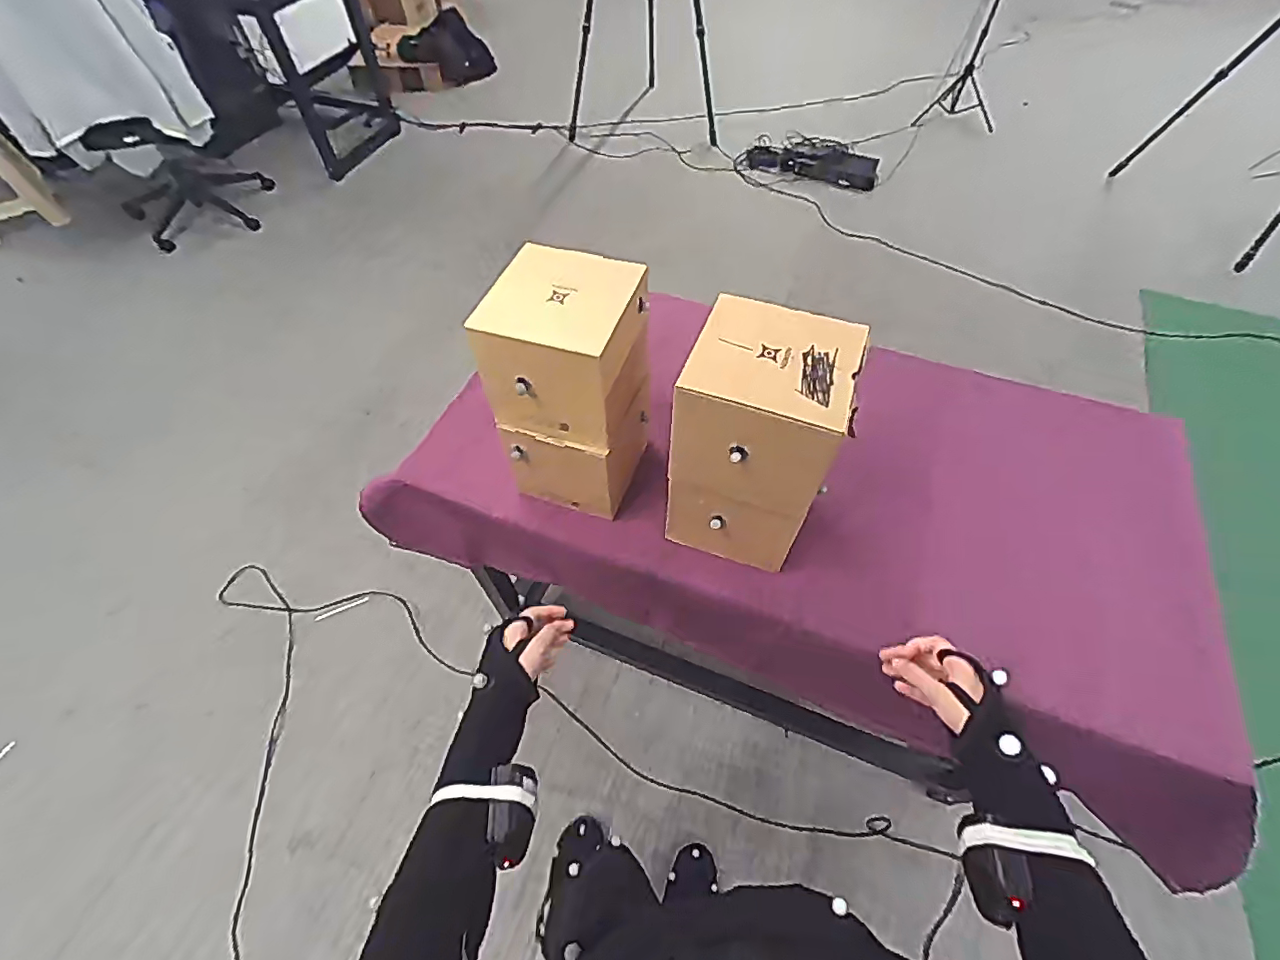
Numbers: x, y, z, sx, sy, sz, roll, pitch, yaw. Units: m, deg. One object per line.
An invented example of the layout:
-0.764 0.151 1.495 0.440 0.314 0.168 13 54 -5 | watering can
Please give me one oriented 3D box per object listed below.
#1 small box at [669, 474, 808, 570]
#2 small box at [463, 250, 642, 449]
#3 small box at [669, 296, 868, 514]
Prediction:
0.147 0.007 0.774 0.179 0.176 0.168 17 58 12 | small box
-0.096 -0.165 0.701 0.168 0.176 0.179 14 56 11 | small box
0.142 -0.082 0.636 0.179 0.176 0.168 17 57 13 | small box
